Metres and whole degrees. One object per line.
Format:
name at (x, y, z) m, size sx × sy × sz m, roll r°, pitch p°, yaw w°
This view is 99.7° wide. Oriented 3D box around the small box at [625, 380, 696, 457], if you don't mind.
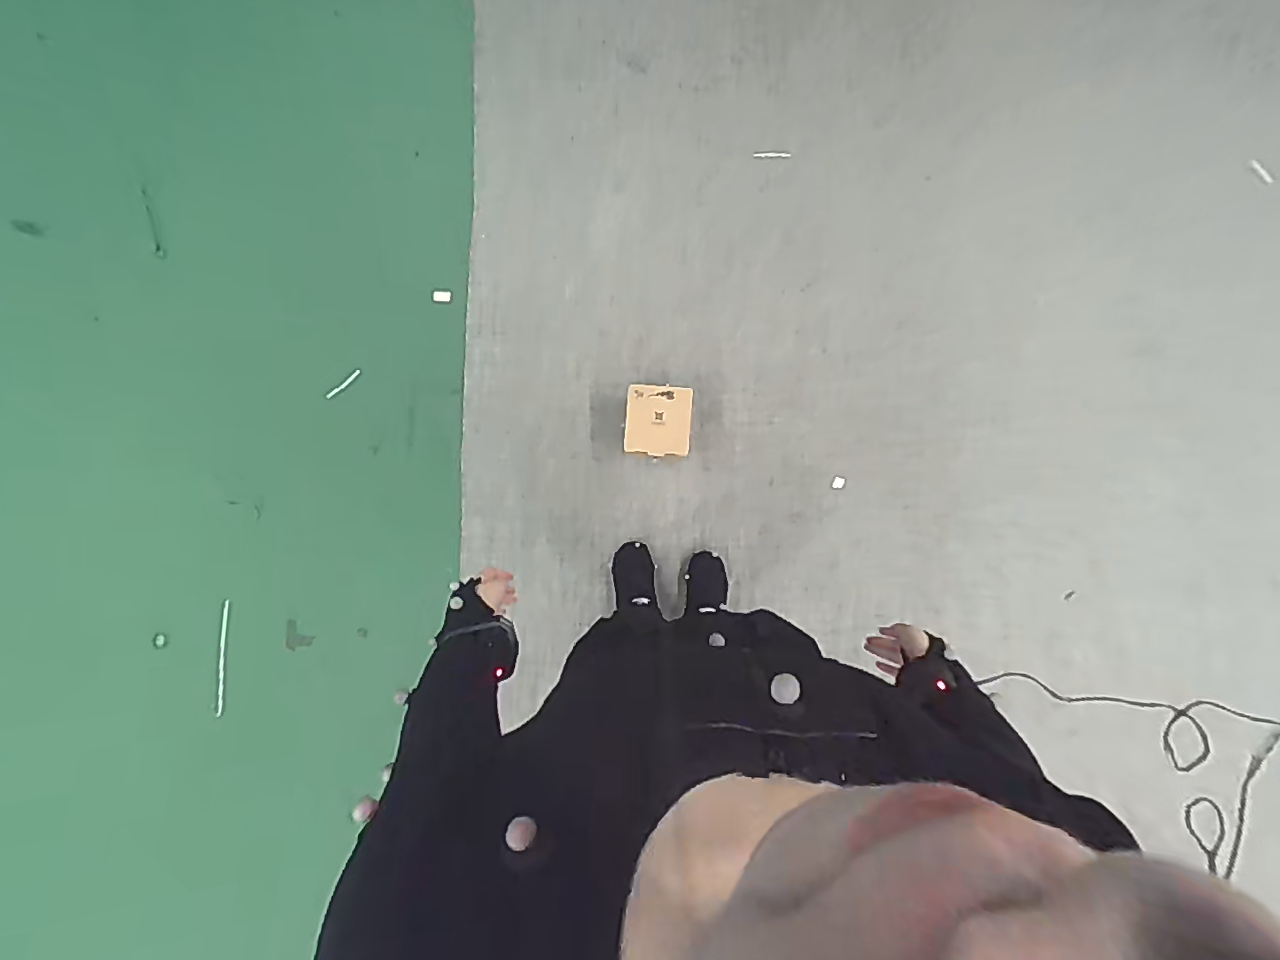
small box at (0.054, -0.155, 1.429) m, size 0.168 × 0.176 × 0.179 m, roll 5°, pitch 88°, yaw 1°
